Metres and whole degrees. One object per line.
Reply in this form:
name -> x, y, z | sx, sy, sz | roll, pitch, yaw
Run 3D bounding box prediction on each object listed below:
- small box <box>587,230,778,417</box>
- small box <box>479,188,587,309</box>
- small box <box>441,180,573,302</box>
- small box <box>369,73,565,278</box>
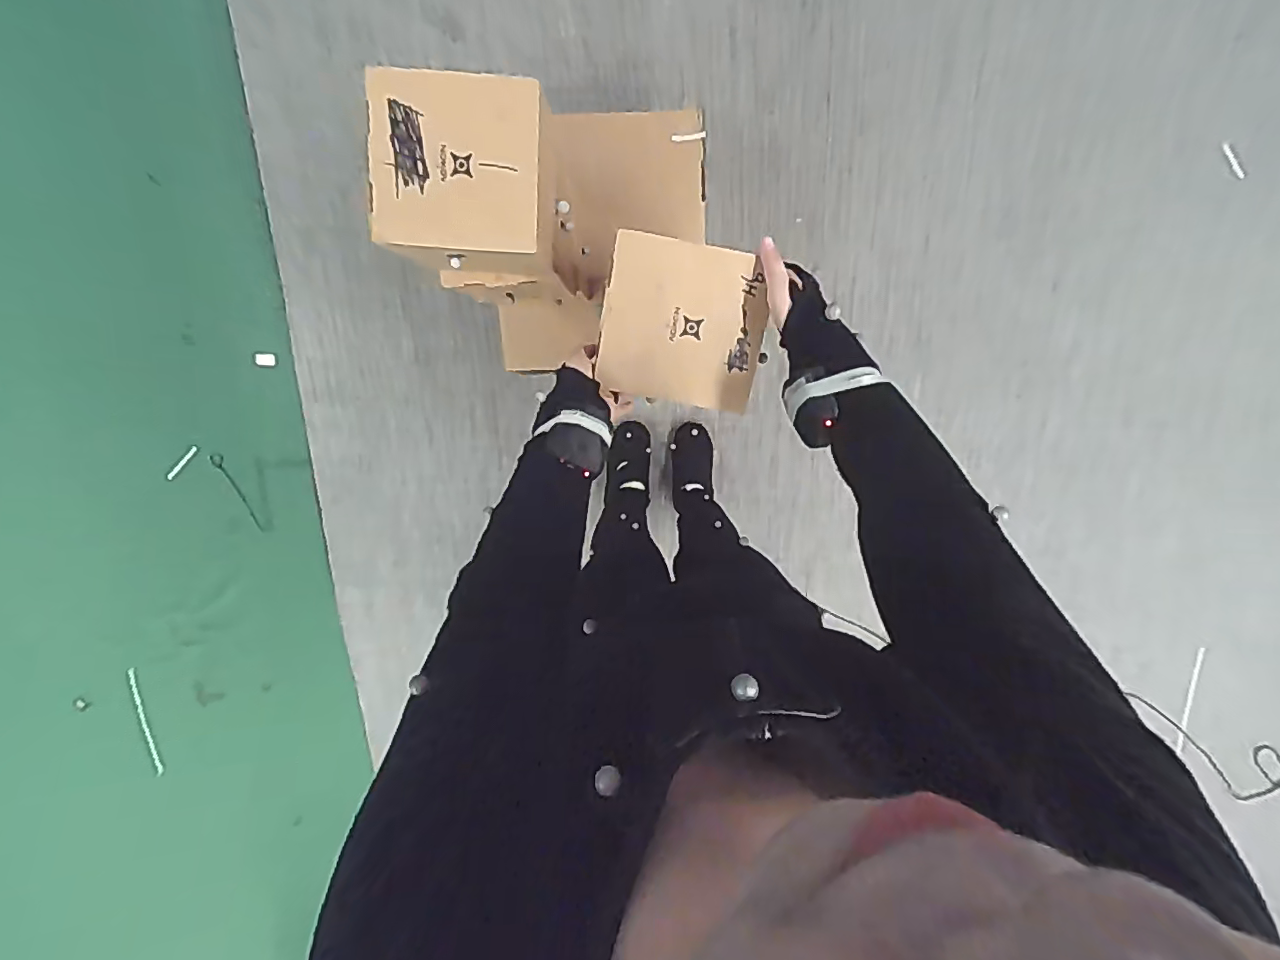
small box -> 0.044, -0.181, 0.650 | 0.179, 0.176, 0.168 | 11, 105, -2
small box -> -0.187, -0.400, 0.956 | 0.179, 0.176, 0.168 | -3, 101, 1
small box -> -0.191, -0.364, 0.797 | 0.168, 0.176, 0.179 | -1, 103, 0
small box -> -0.190, -0.338, 0.634 | 0.179, 0.176, 0.168 | 4, 103, -1
